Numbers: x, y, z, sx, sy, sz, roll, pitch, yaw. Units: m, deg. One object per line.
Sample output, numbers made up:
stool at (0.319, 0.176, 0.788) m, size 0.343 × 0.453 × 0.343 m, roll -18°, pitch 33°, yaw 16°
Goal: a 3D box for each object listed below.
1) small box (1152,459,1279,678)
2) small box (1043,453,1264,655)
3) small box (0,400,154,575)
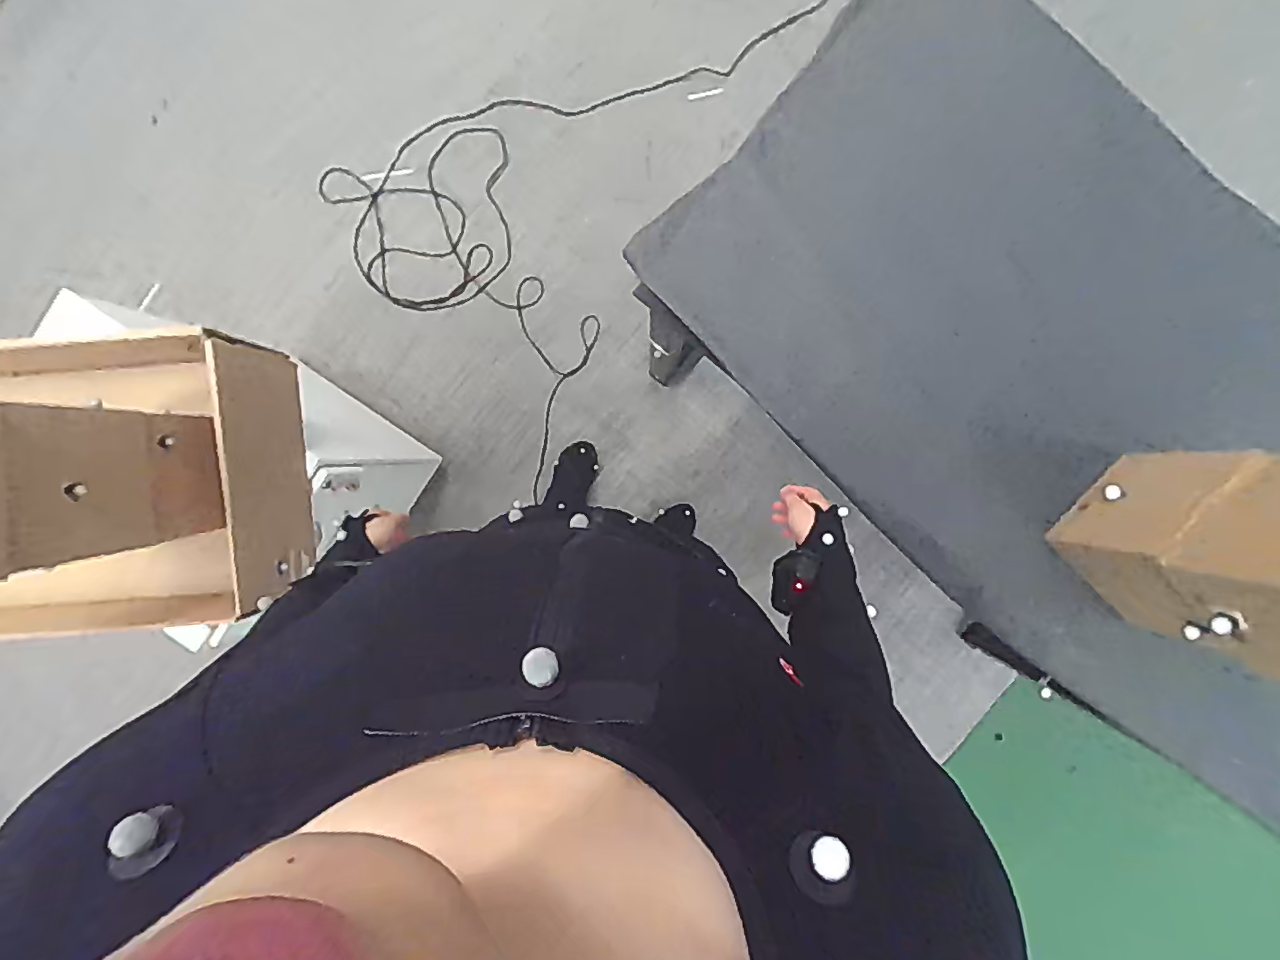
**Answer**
small box at (0.666, 0.090, 0.511) m, size 0.179 × 0.176 × 0.168 m, roll -44°, pitch 89°, yaw 2°
small box at (0.672, 0.082, 0.673) m, size 0.179 × 0.176 × 0.168 m, roll 44°, pitch 90°, yaw -1°
small box at (-0.707, 0.006, 0.612) m, size 0.168 × 0.176 × 0.179 m, roll -2°, pitch 94°, yaw 2°
